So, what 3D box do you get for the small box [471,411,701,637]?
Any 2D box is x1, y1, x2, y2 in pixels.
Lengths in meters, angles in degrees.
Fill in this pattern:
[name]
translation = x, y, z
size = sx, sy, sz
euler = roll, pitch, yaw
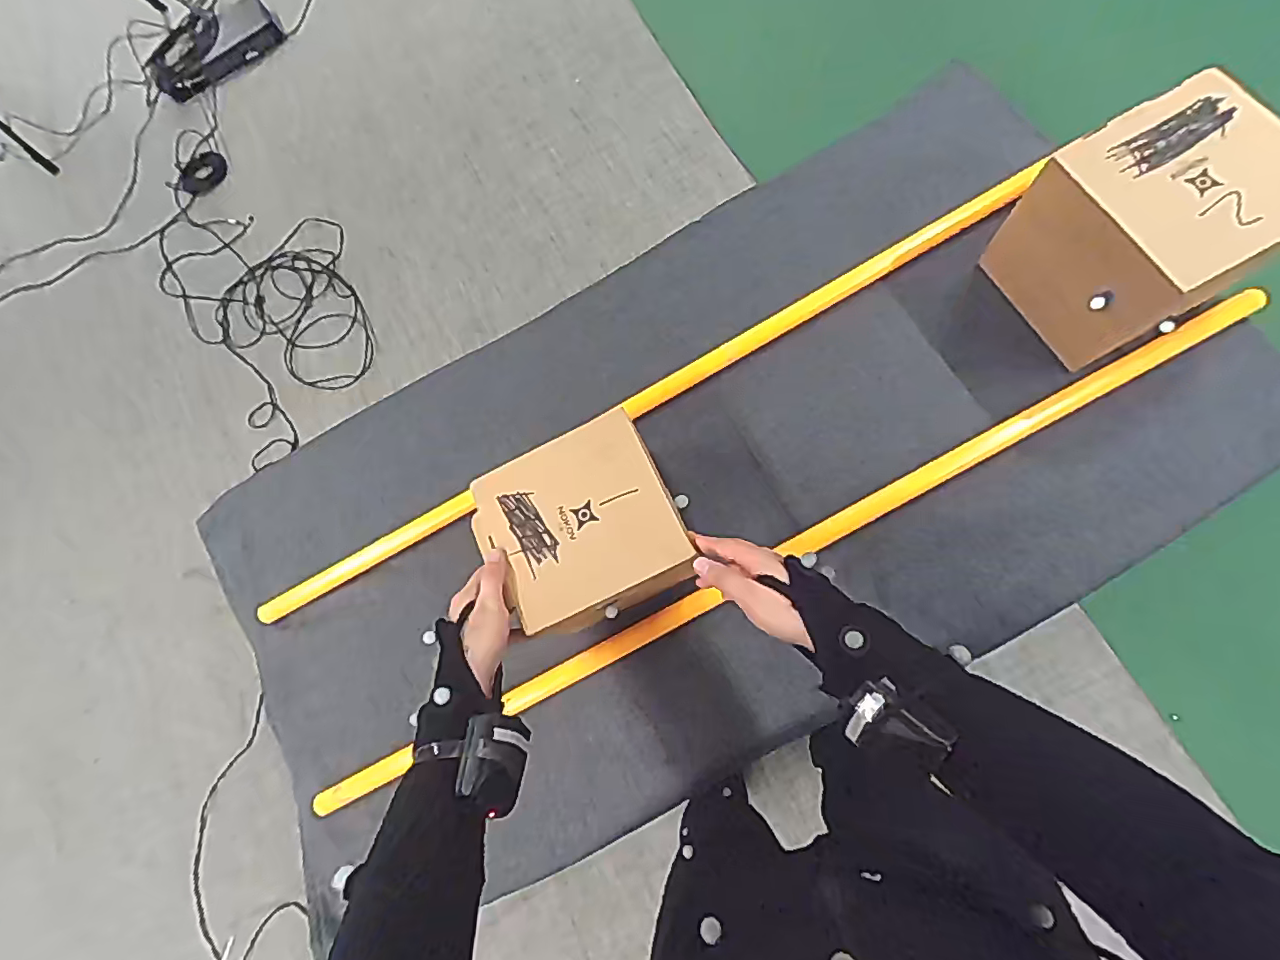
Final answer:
[small box]
translation = -0.047, 0.058, 0.588
size = 0.179, 0.176, 0.168
euler = -26, 74, 2
